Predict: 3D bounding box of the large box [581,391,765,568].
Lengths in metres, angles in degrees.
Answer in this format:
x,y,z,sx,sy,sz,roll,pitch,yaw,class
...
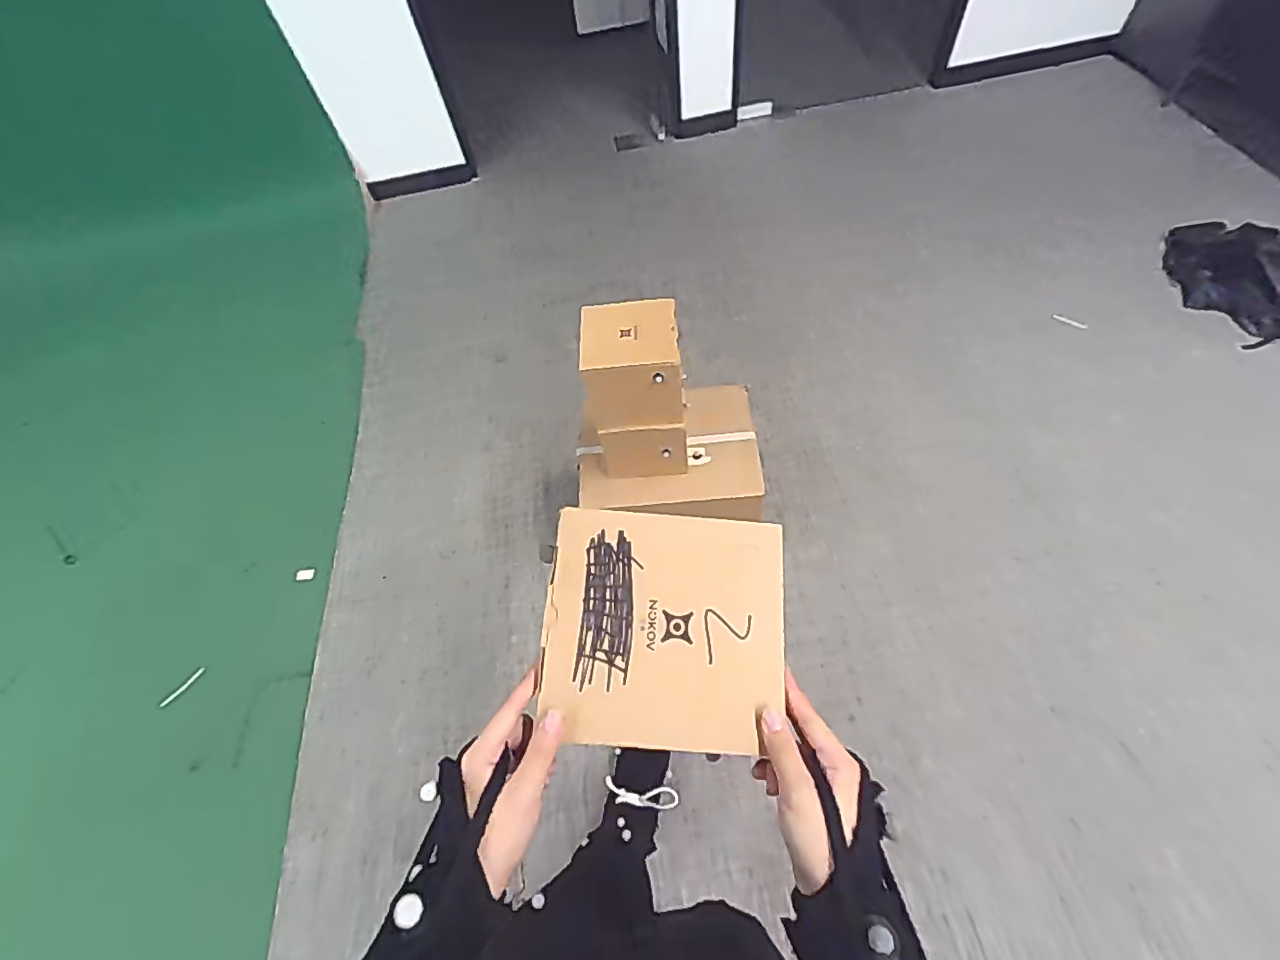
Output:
x,y,z,sx,sy,sz,roll,pitch,yaw,class
0.072,0.009,1.362,0.408,0.320,0.320,-5,59,2,large box

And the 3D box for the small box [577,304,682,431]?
x,y,z,sx,sy,sz,roll,pitch,yaw,class
-0.015,-0.208,1.028,0.179,0.176,0.168,-5,57,3,small box

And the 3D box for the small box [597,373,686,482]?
x,y,z,sx,sy,sz,roll,pitch,yaw,class
0.008,-0.109,1.156,0.179,0.176,0.168,-5,56,5,small box
